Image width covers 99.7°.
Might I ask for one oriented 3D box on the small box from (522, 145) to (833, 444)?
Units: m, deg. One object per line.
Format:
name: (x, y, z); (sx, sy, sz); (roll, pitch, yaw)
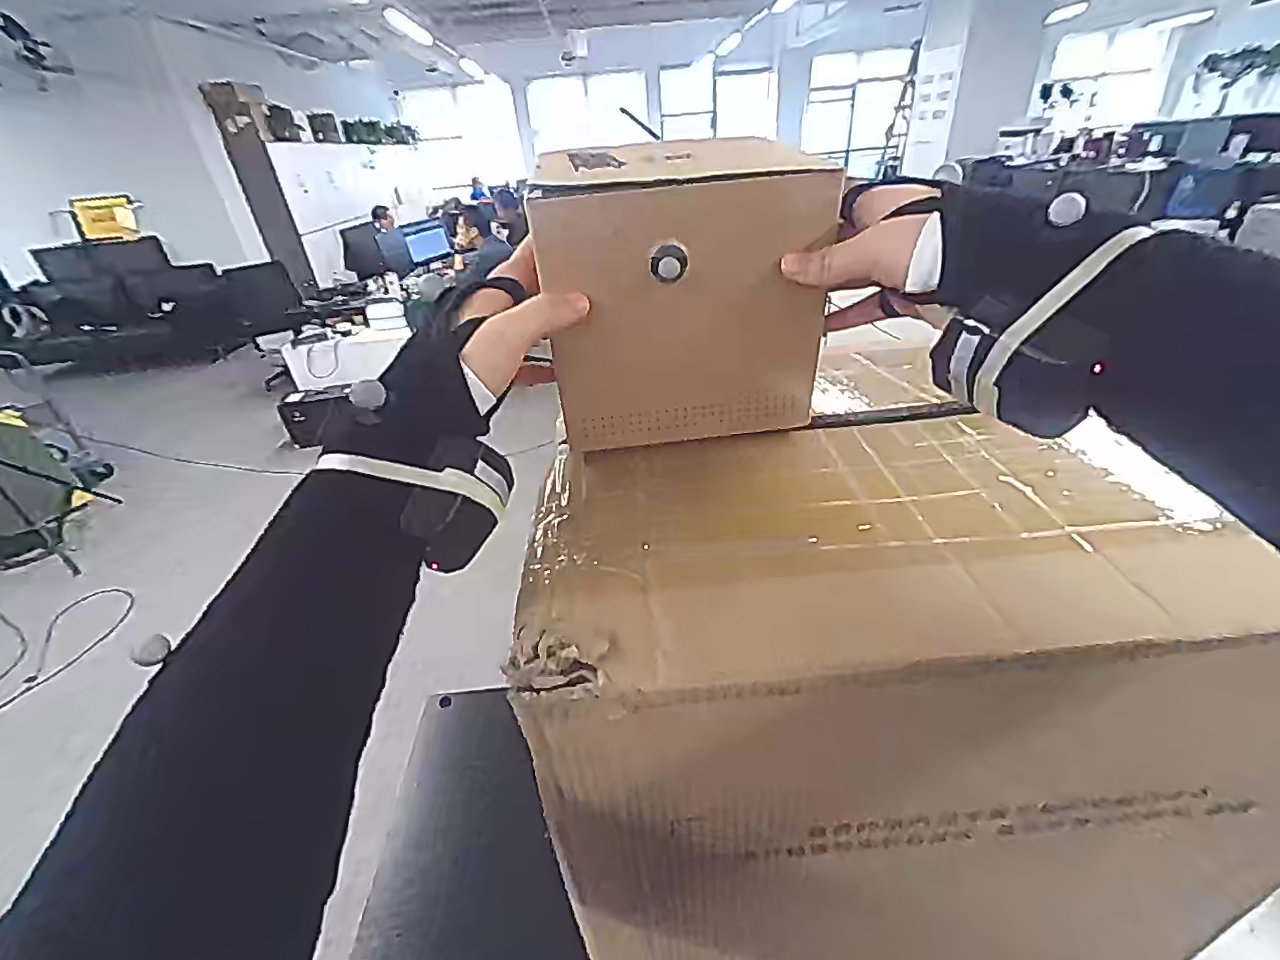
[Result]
small box: (0.021, -0.139, 0.402); (0.179, 0.176, 0.168); (-6, 36, -2)
